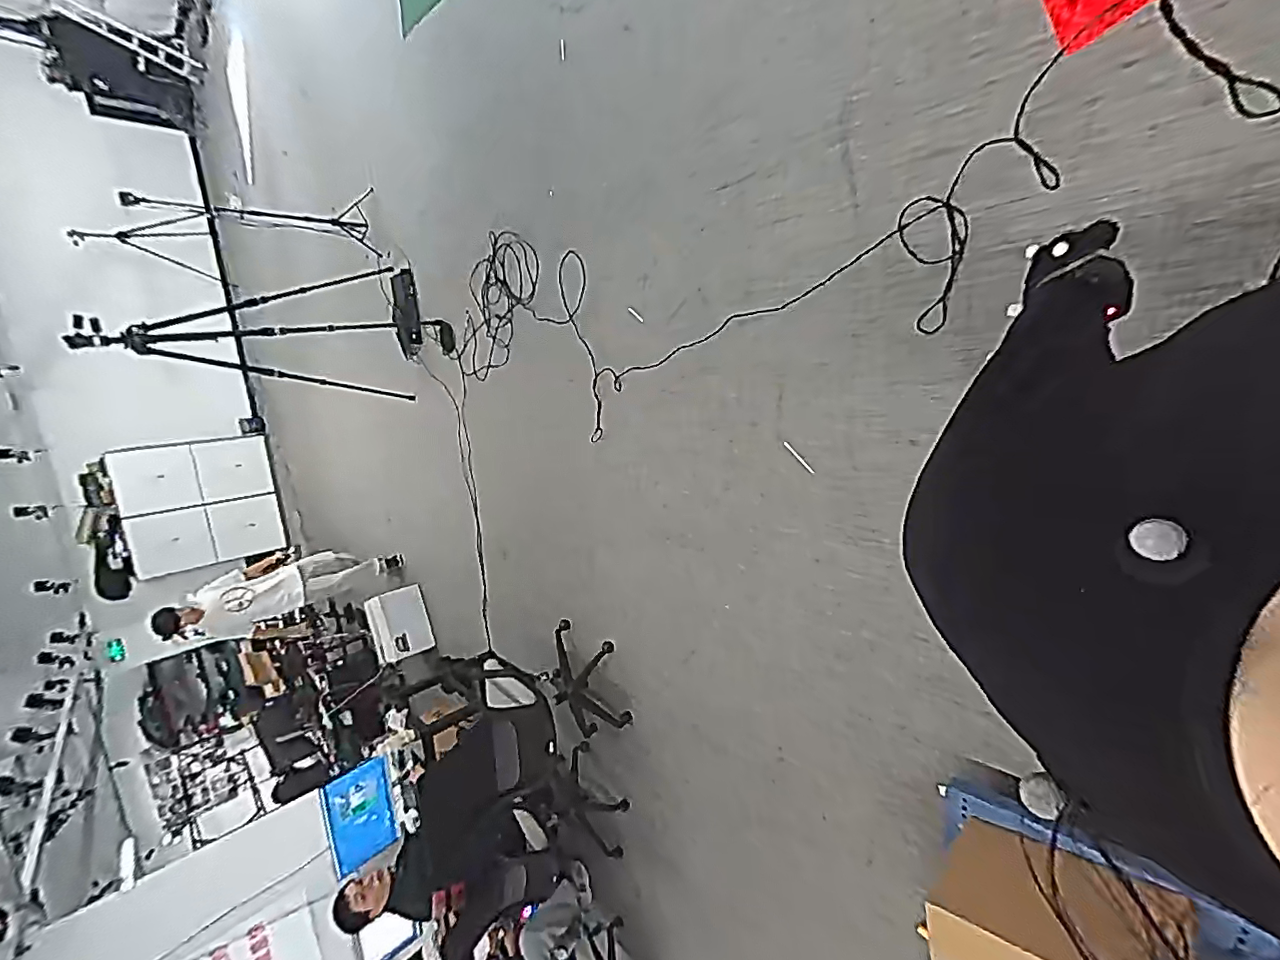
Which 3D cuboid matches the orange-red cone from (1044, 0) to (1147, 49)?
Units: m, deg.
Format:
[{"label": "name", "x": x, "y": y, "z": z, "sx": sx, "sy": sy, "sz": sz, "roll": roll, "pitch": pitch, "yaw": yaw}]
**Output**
[{"label": "orange-red cone", "x": 0.778, "y": -0.952, "z": 0.921, "sx": 0.198, "sy": 0.360, "sz": 0.199, "roll": -21, "pitch": 84, "yaw": 47}]
